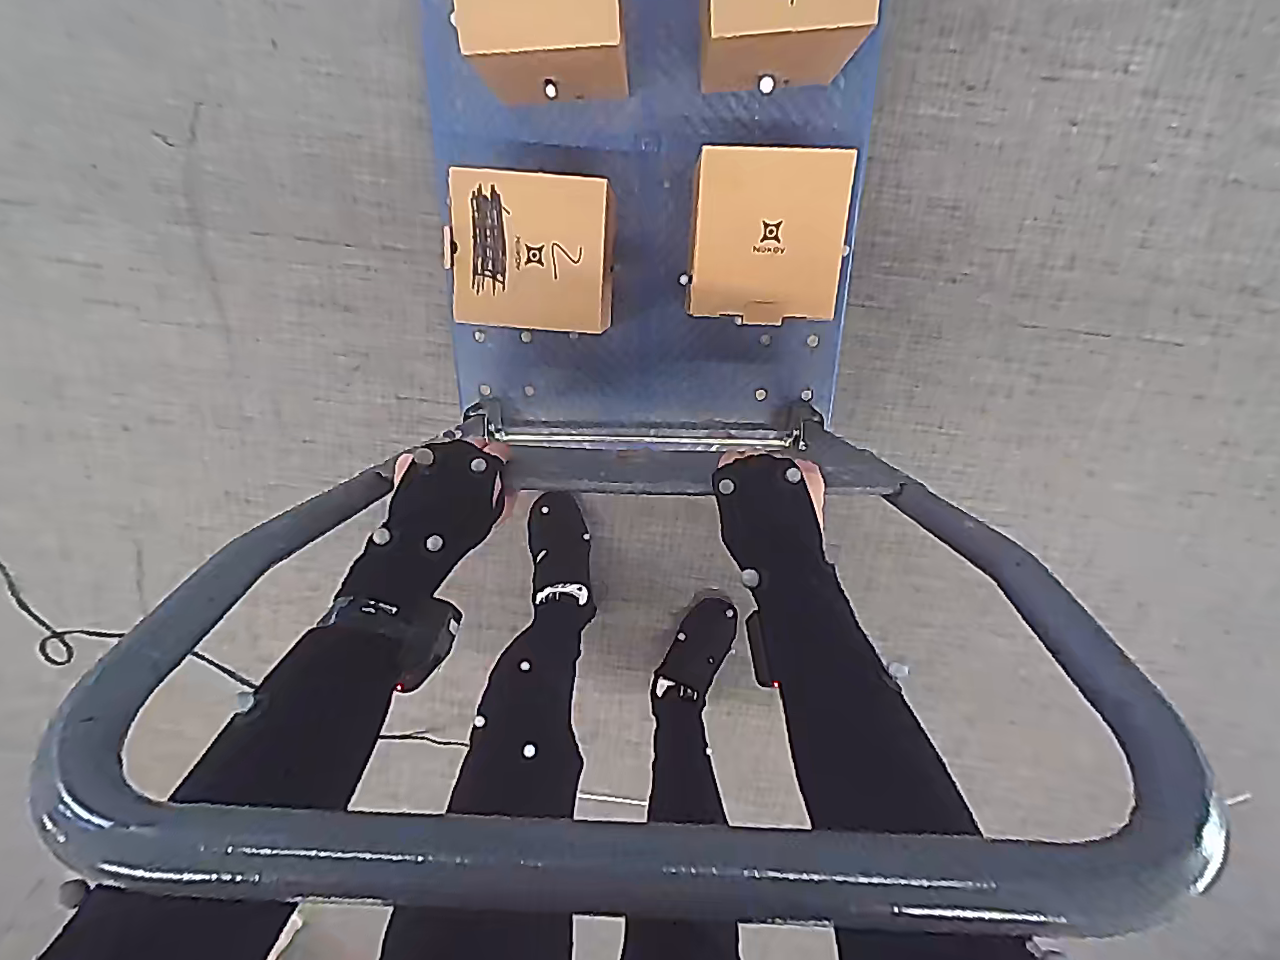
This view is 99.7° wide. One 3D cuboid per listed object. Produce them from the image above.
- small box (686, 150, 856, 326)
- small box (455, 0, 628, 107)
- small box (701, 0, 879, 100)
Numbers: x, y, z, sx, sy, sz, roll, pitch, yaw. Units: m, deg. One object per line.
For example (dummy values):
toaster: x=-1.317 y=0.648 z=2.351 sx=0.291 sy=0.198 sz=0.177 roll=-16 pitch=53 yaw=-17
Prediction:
small box: x=0.147 y=-0.289 z=0.674 sx=0.168 sy=0.176 sz=0.179 roll=3 pitch=109 yaw=1
small box: x=-0.101 y=-0.536 z=0.599 sx=0.168 sy=0.176 sz=0.179 roll=-2 pitch=109 yaw=2
small box: x=0.153 y=-0.545 z=0.586 sx=0.168 sy=0.176 sz=0.179 roll=-1 pitch=110 yaw=4
